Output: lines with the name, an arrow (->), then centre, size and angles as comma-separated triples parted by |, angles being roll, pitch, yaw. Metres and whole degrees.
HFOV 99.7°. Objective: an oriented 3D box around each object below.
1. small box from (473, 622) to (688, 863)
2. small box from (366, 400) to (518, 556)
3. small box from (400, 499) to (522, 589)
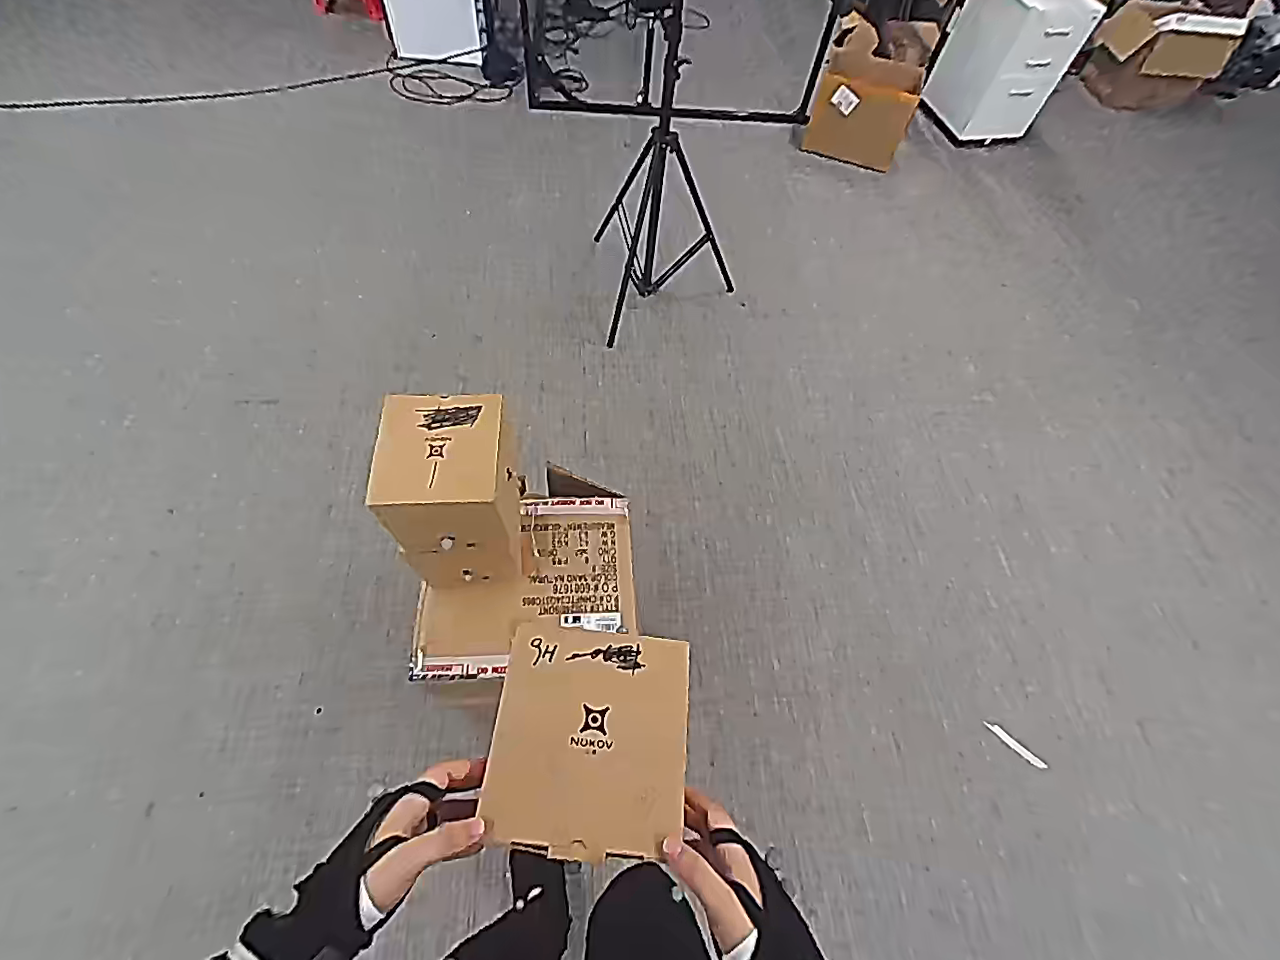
small box -> -0.049, 0.258, 0.531 | 0.168, 0.176, 0.179 | 7, 56, -2
small box -> -0.277, 0.000, 0.801 | 0.168, 0.176, 0.179 | -2, 62, -4
small box -> -0.302, 0.077, 0.946 | 0.168, 0.176, 0.179 | -5, 62, -6
